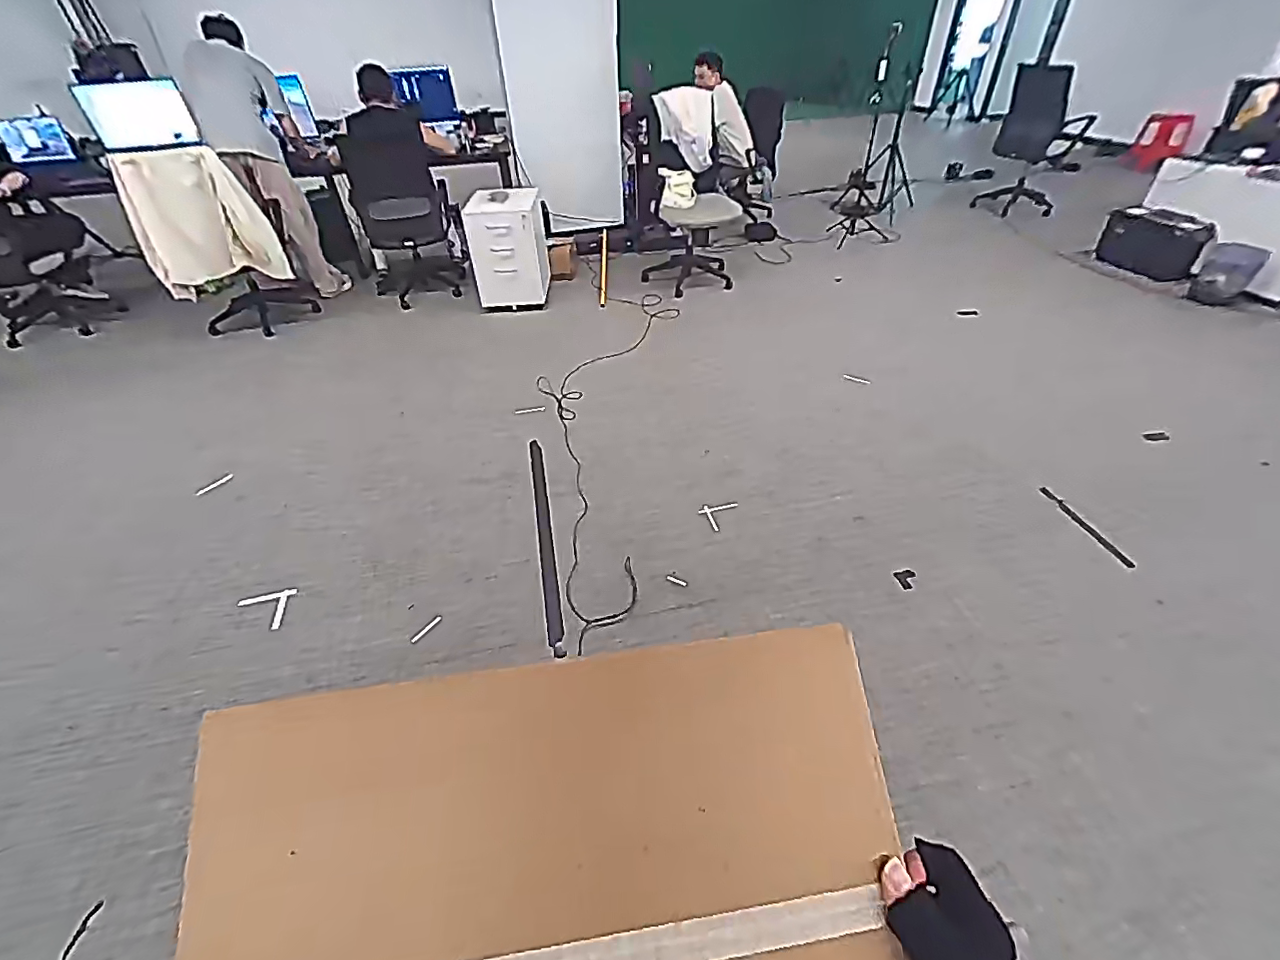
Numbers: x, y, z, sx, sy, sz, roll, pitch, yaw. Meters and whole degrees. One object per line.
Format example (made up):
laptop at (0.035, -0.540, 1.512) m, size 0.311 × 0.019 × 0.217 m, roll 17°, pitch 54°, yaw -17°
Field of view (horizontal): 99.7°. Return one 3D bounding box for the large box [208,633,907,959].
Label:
large box at (-0.048, 0.320, 0.455) m, size 0.408 × 0.320 × 0.320 m, roll -7°, pitch 72°, yaw -5°
